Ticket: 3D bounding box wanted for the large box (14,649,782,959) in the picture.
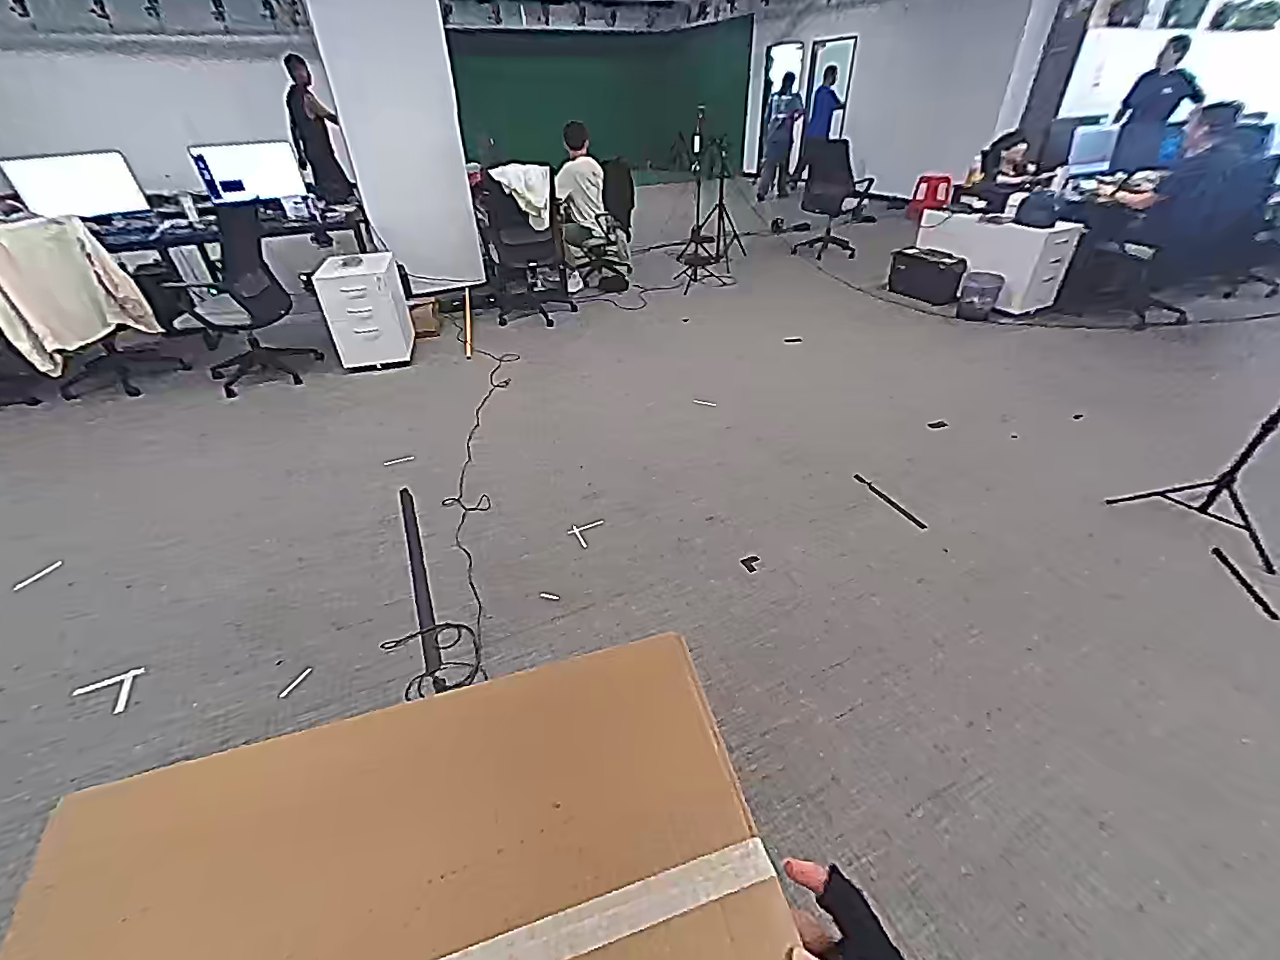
[{"bbox_3d":[-0.126,0.379,0.391,0.408,0.320,0.320,-11,47,-13],"label":"large box"}]
